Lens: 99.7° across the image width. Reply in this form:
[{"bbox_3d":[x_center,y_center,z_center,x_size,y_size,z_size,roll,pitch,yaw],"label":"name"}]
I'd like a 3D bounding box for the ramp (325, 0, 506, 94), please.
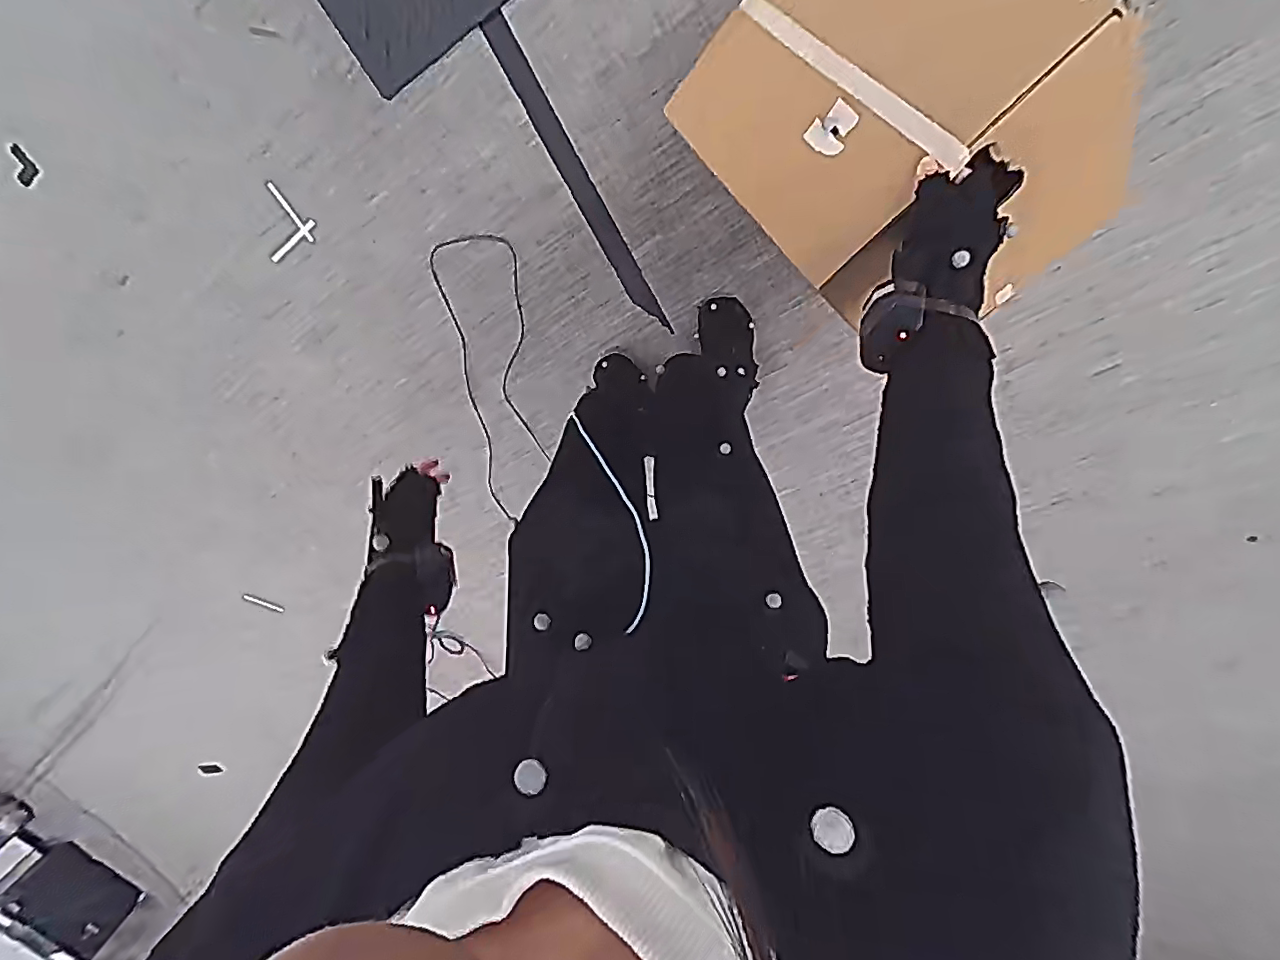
[{"bbox_3d":[-0.537,-1.219,0.768,0.509,0.206,0.991,-25,110,20],"label":"ramp"}]

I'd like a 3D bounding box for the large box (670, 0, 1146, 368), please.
[{"bbox_3d":[0.312,-0.419,0.691,0.320,0.408,0.320,10,135,-47],"label":"large box"}]
